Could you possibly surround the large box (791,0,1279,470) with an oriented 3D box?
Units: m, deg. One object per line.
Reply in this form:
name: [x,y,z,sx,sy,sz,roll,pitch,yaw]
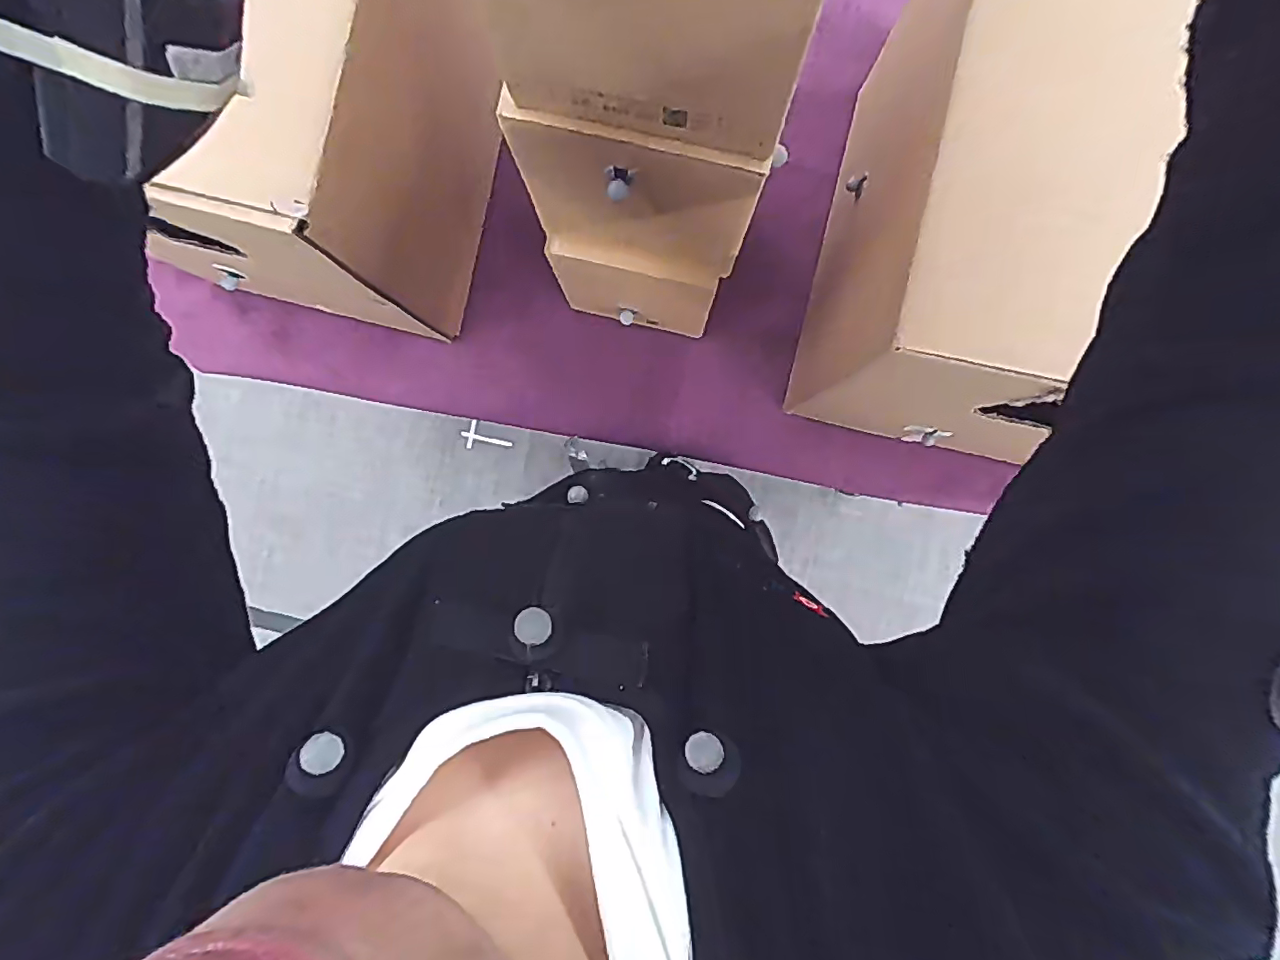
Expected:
large box: [0.357,-0.238,0.499,0.320,0.320,0.408,13,89,2]
